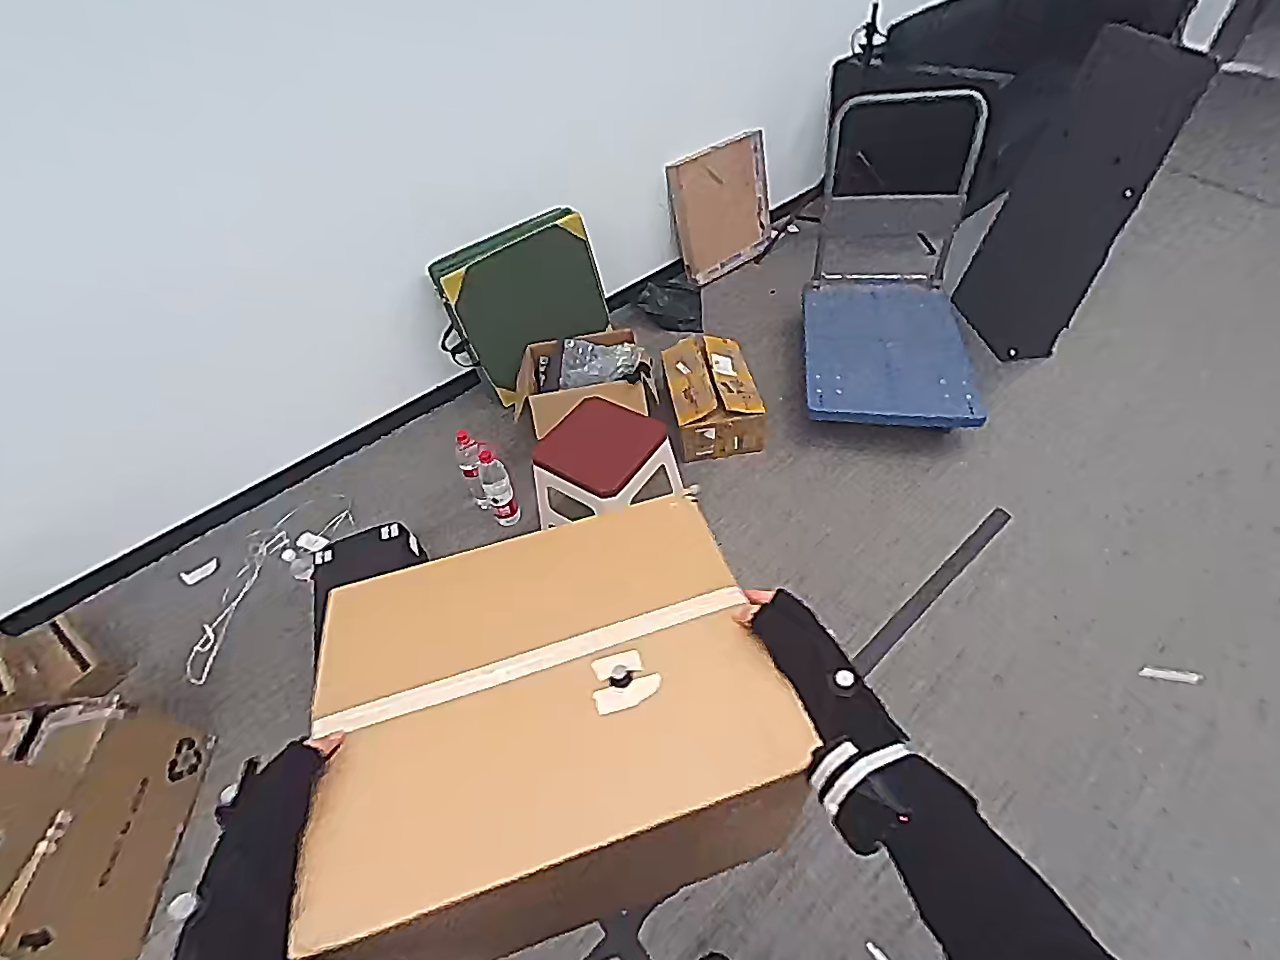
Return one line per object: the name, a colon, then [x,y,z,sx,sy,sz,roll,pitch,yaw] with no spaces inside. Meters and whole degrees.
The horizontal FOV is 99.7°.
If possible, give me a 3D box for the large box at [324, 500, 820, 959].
large box: [-0.069,0.278,0.620,0.408,0.320,0.320,-14,45,-8]
